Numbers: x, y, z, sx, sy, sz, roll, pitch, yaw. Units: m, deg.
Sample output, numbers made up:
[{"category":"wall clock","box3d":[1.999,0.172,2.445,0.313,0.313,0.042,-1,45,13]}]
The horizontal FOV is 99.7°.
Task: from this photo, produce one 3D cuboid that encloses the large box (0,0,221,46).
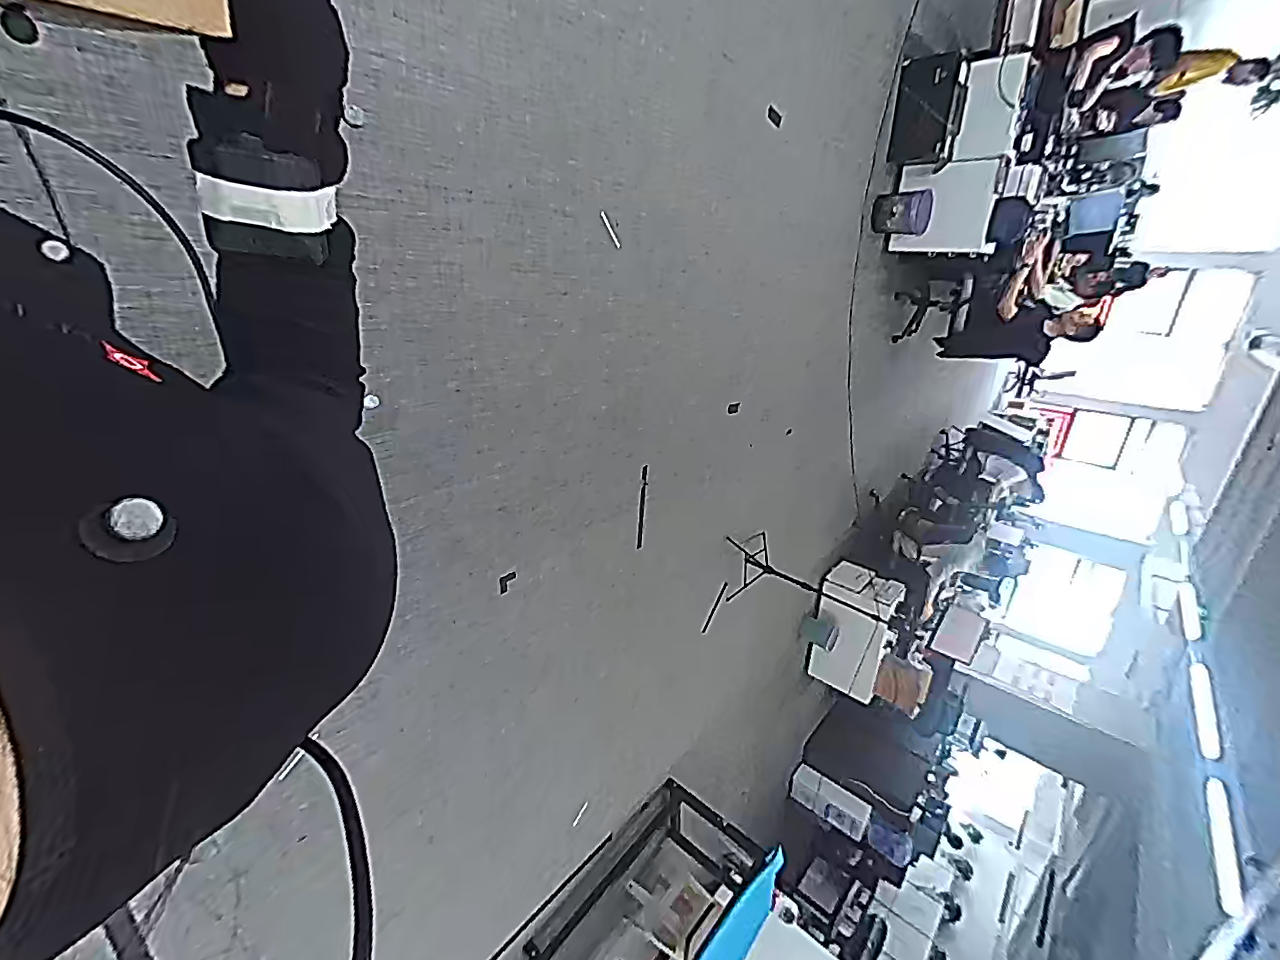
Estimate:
[{"category":"large box","box3d":[-0.426,-0.352,0.135,0.408,0.320,0.320,-25,135,-44]}]
